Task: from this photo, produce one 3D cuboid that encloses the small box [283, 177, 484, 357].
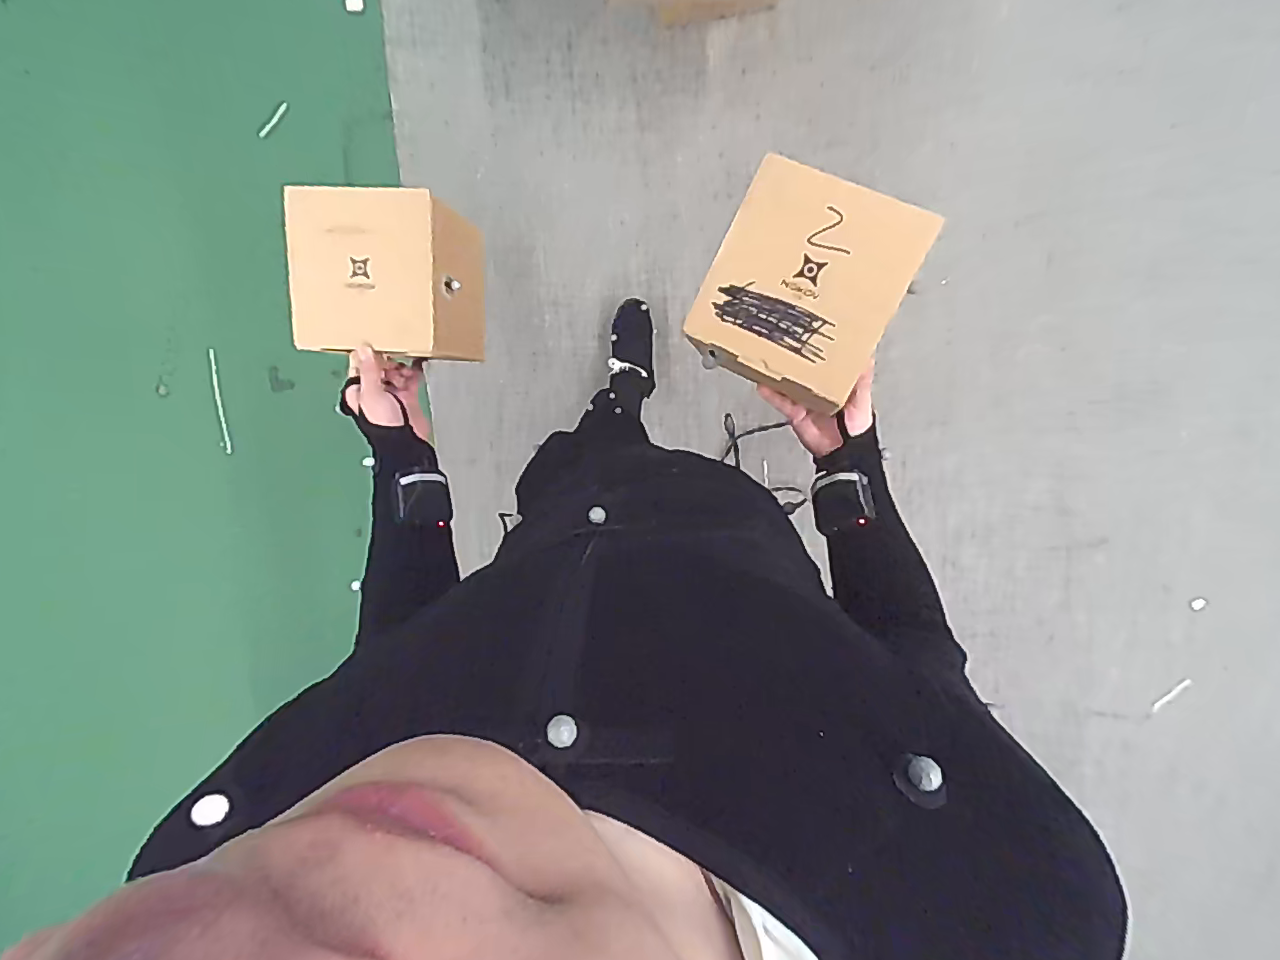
[{"bbox_3d":[-0.302,-0.248,0.669,0.168,0.176,0.179,4,99,4],"label":"small box"}]
